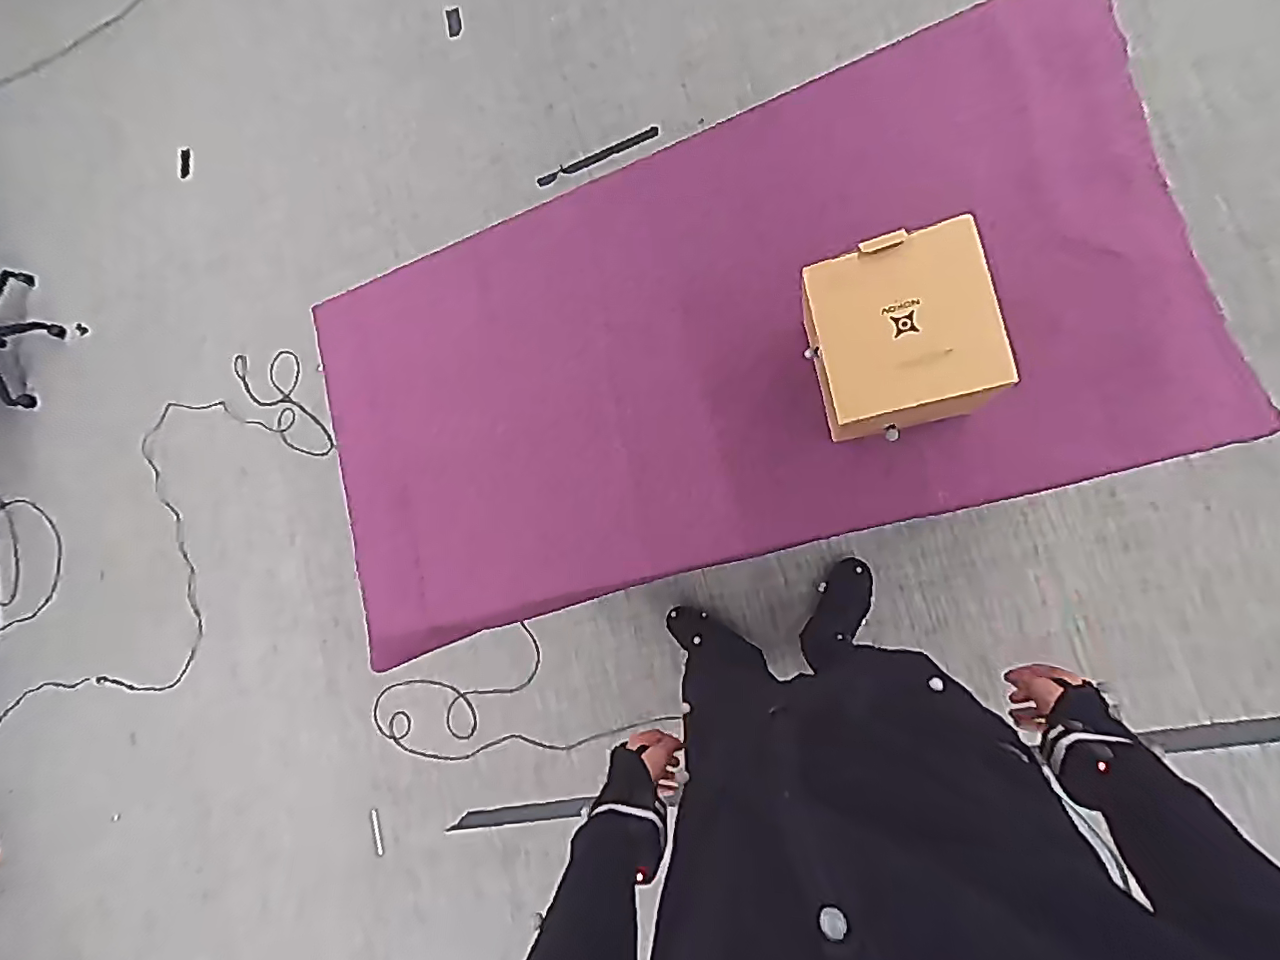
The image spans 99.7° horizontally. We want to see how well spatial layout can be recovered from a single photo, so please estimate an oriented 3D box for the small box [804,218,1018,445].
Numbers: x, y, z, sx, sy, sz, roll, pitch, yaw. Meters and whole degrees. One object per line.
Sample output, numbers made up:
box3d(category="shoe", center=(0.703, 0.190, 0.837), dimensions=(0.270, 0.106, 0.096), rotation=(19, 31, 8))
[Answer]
box3d(category="small box", center=(0.285, -0.149, 0.609), dimensions=(0.168, 0.176, 0.179), rotation=(-13, 83, 17))
